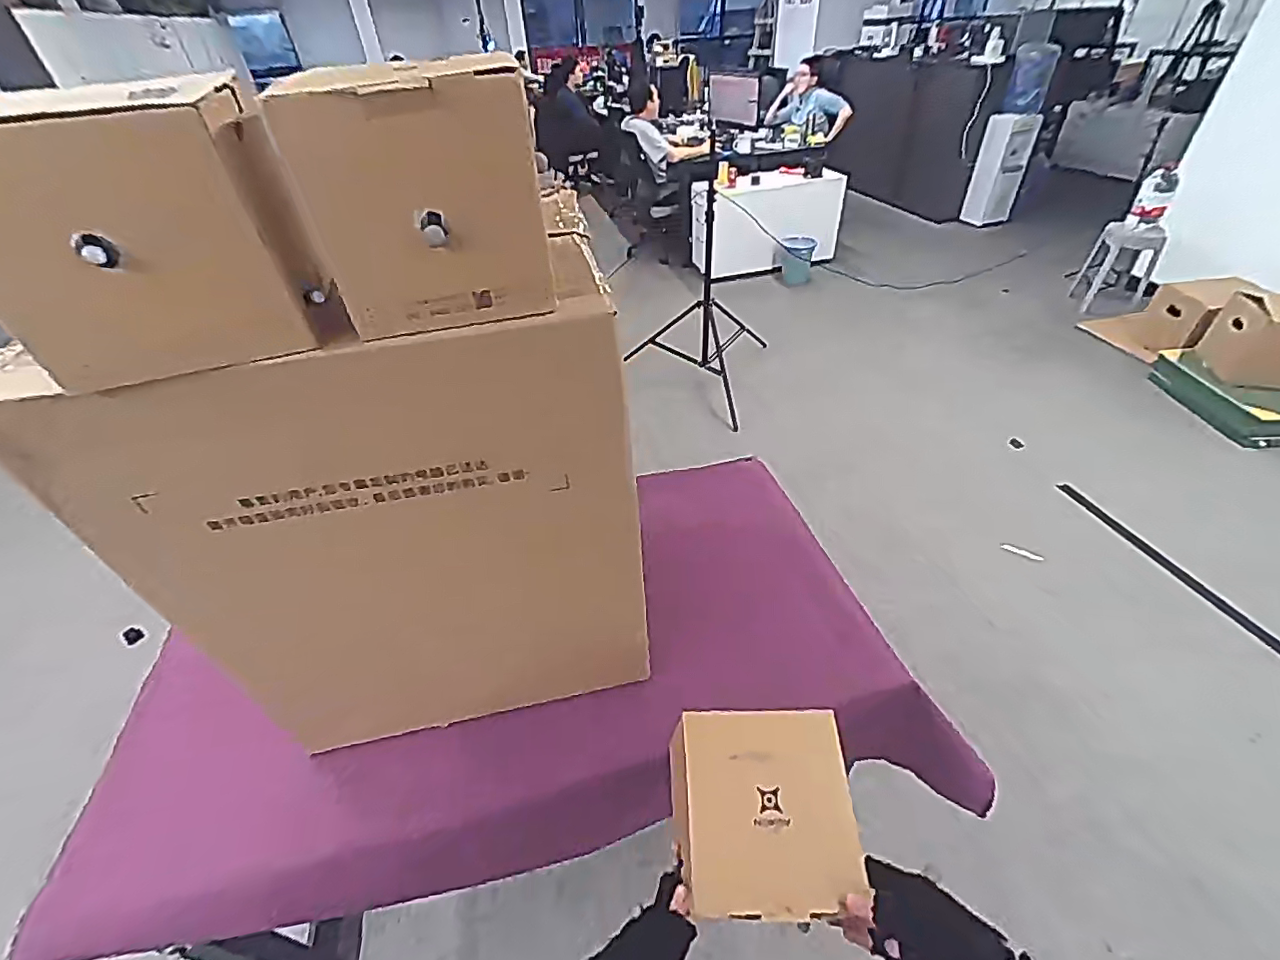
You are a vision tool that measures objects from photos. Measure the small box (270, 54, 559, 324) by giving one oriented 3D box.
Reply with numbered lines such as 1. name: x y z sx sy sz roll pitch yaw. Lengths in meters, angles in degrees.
1. small box: -0.169 -0.245 0.463 0.168 0.176 0.179 -11 43 -9

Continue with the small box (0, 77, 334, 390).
1. small box: -0.365 -0.194 0.421 0.179 0.176 0.168 -16 43 -12

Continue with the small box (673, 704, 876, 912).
1. small box: 0.128 0.359 0.596 0.168 0.176 0.179 1 53 -3
